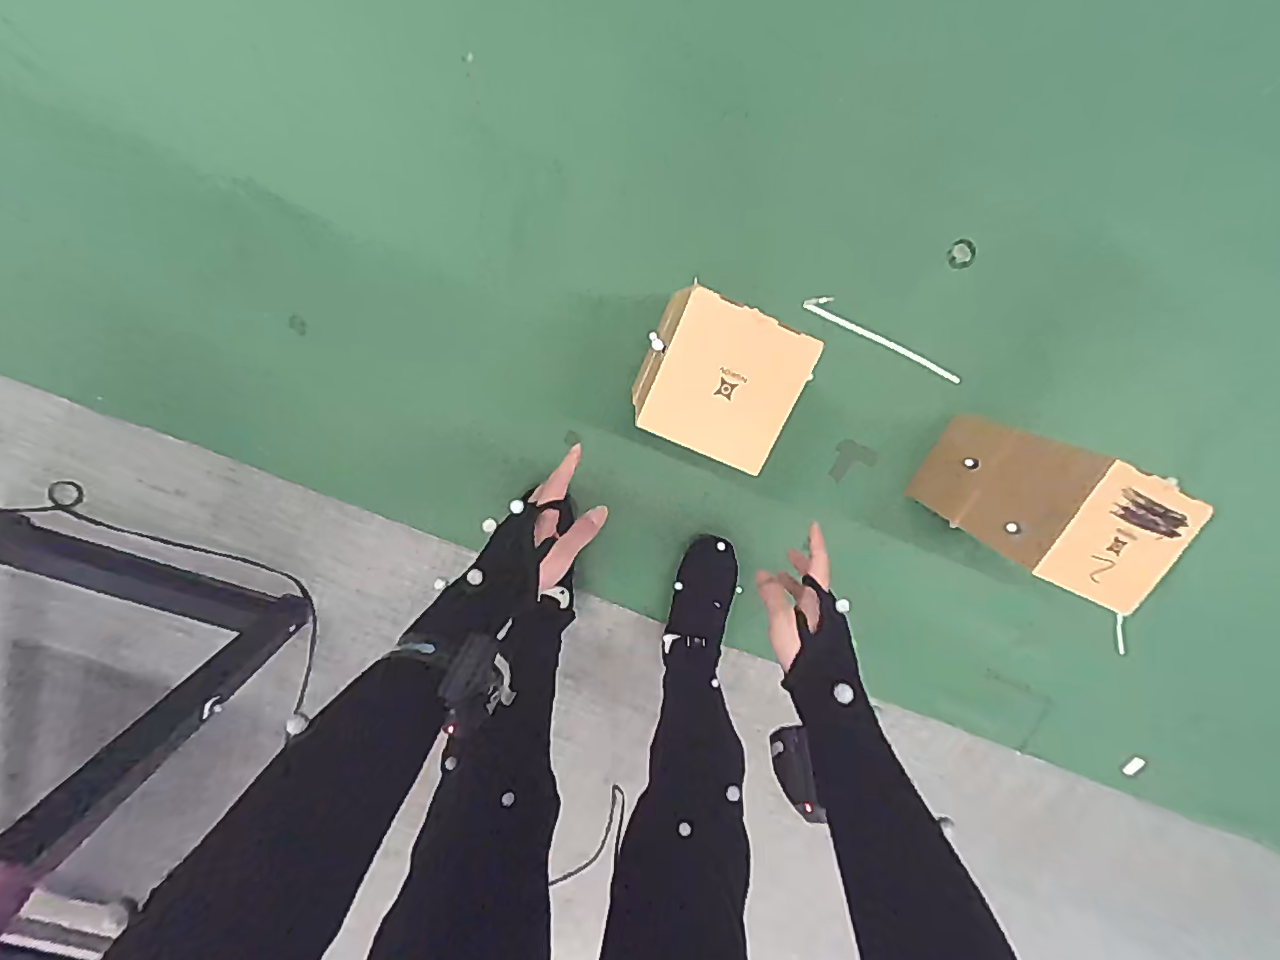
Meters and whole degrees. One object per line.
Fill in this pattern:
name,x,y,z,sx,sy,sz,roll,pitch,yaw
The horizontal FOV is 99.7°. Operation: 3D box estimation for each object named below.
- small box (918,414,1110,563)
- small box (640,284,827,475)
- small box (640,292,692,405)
small box,0.618,0.004,0.921,0.168,0.176,0.179,24,106,-8
small box,0.109,-0.134,0.706,0.168,0.176,0.179,22,105,-6
small box,0.105,-0.182,0.859,0.168,0.176,0.179,22,107,-6
